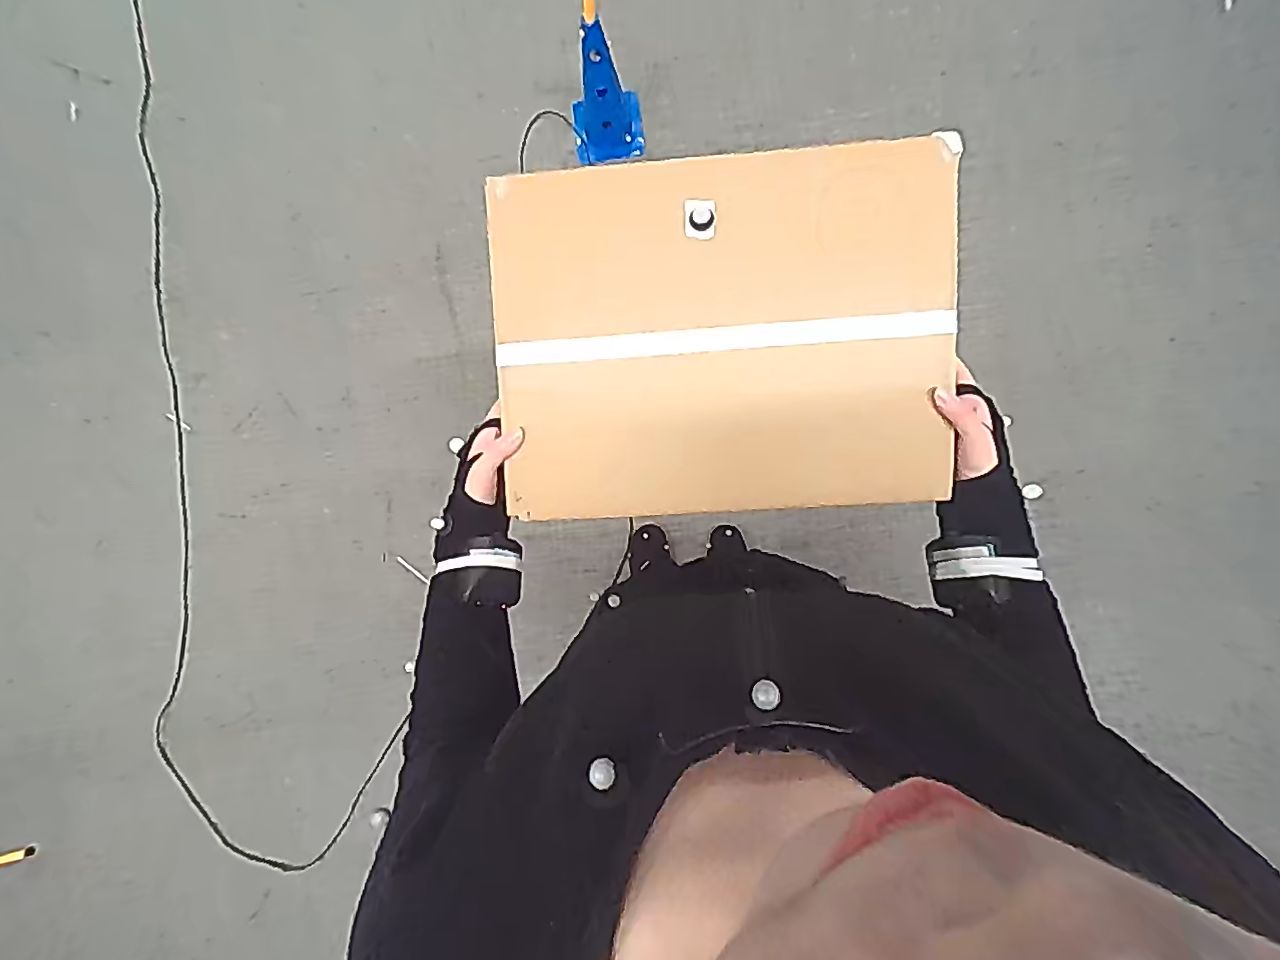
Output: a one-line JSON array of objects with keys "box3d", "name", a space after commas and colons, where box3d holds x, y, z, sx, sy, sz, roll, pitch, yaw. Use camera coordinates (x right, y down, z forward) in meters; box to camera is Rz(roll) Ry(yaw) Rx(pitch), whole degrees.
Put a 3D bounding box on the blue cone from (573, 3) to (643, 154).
[{"box3d": [-0.103, -1.061, 1.407, 0.193, 0.380, 0.192, -10, 86, 2], "name": "blue cone"}]
